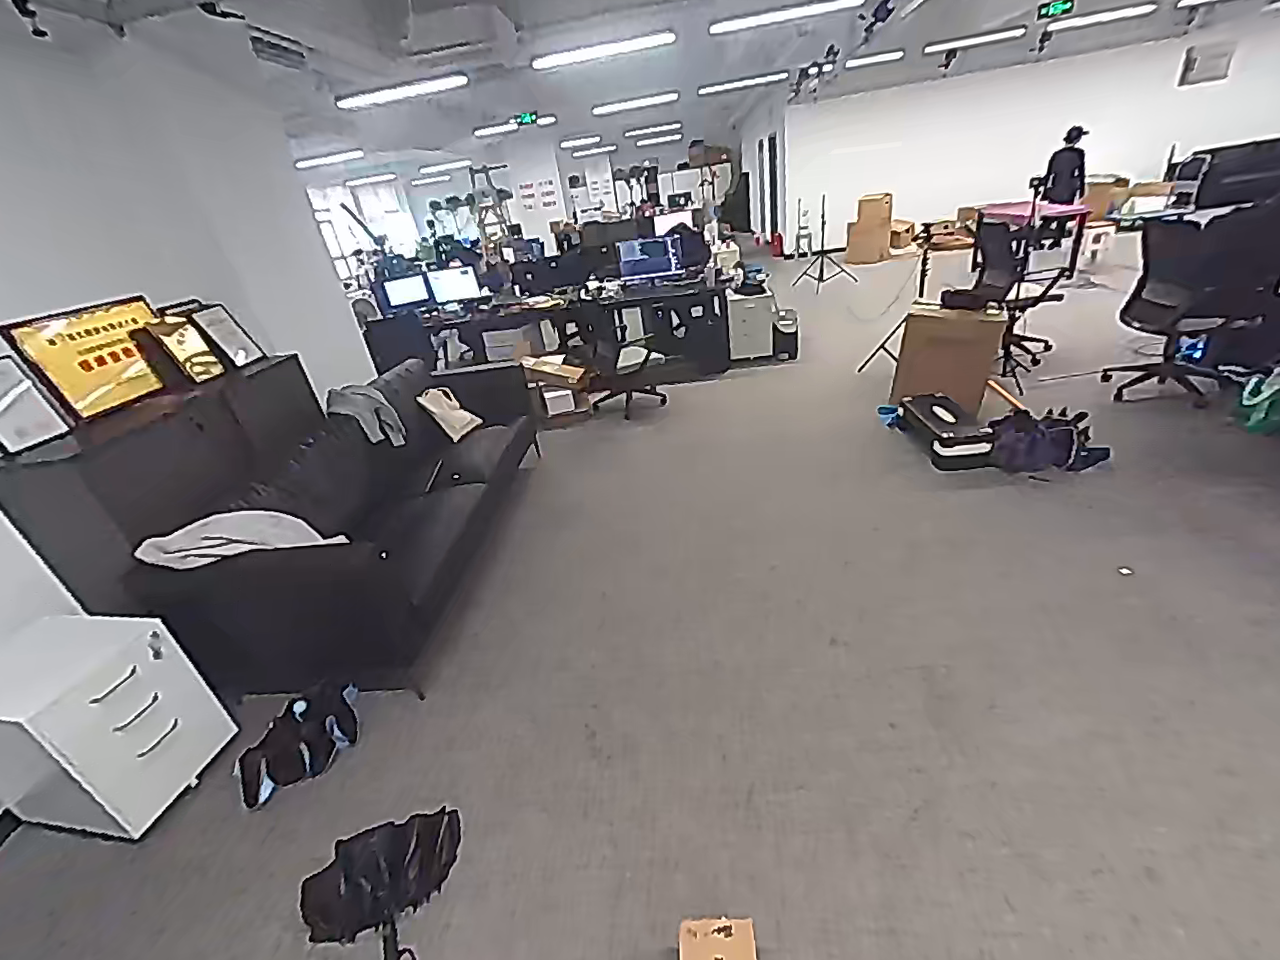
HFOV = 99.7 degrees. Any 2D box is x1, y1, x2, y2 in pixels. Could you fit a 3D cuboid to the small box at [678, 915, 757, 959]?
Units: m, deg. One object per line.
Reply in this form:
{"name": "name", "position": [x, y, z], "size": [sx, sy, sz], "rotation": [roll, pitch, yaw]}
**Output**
{"name": "small box", "position": [0.175, 1.089, 1.178], "size": [0.168, 0.176, 0.179], "rotation": [-7, 30, 6]}
